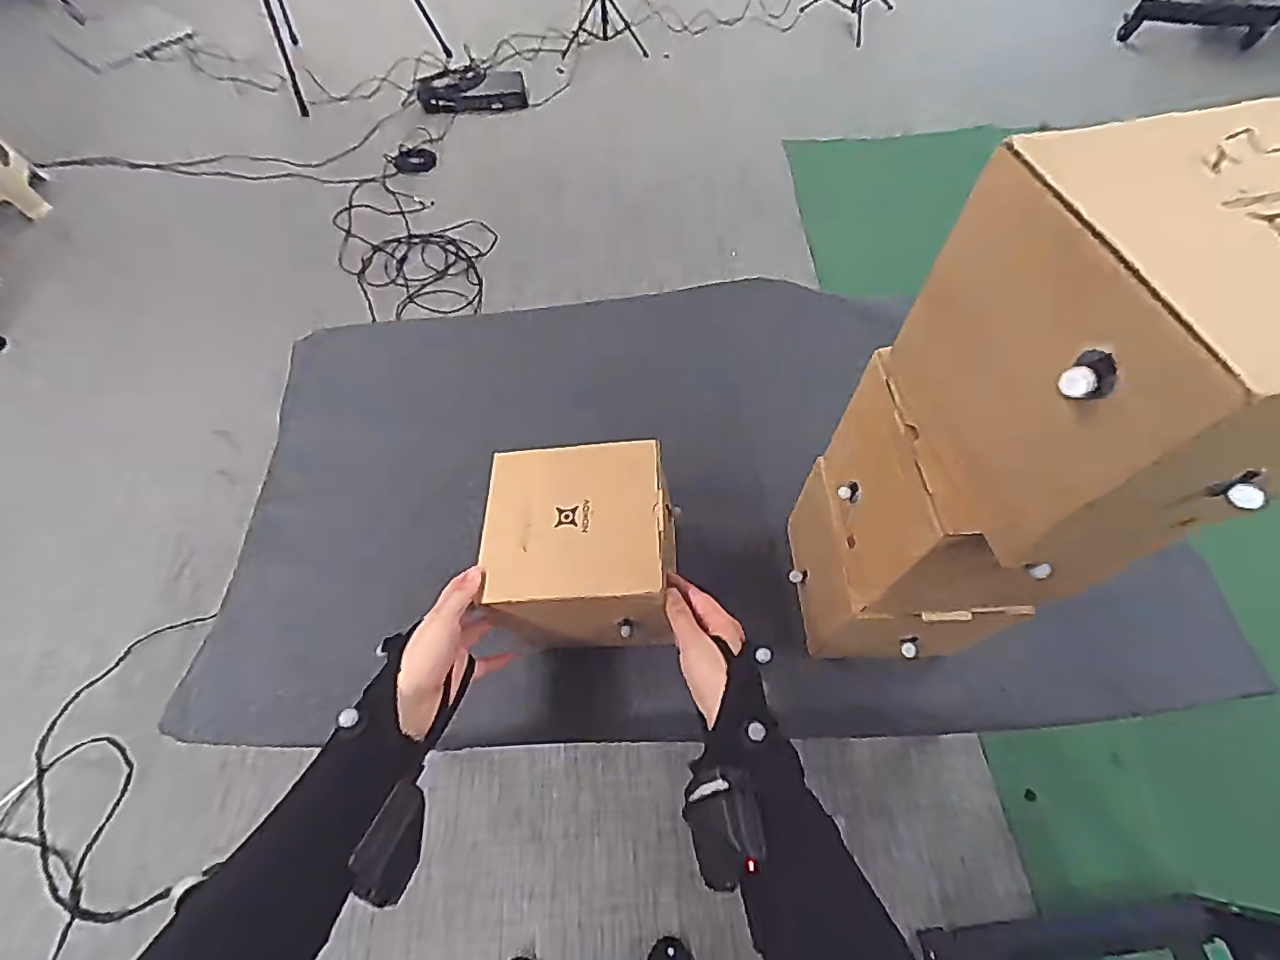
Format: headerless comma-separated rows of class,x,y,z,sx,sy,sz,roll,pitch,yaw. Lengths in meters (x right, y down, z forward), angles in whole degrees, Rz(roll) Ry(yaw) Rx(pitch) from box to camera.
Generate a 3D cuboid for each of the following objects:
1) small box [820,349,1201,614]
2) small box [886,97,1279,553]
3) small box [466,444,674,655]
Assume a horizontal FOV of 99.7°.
small box,0.271,0.006,0.451,0.179,0.176,0.168,-4,59,1
small box,0.273,-0.072,0.305,0.168,0.176,0.179,-11,59,-4
small box,-0.058,0.082,0.576,0.179,0.176,0.168,-6,58,8
